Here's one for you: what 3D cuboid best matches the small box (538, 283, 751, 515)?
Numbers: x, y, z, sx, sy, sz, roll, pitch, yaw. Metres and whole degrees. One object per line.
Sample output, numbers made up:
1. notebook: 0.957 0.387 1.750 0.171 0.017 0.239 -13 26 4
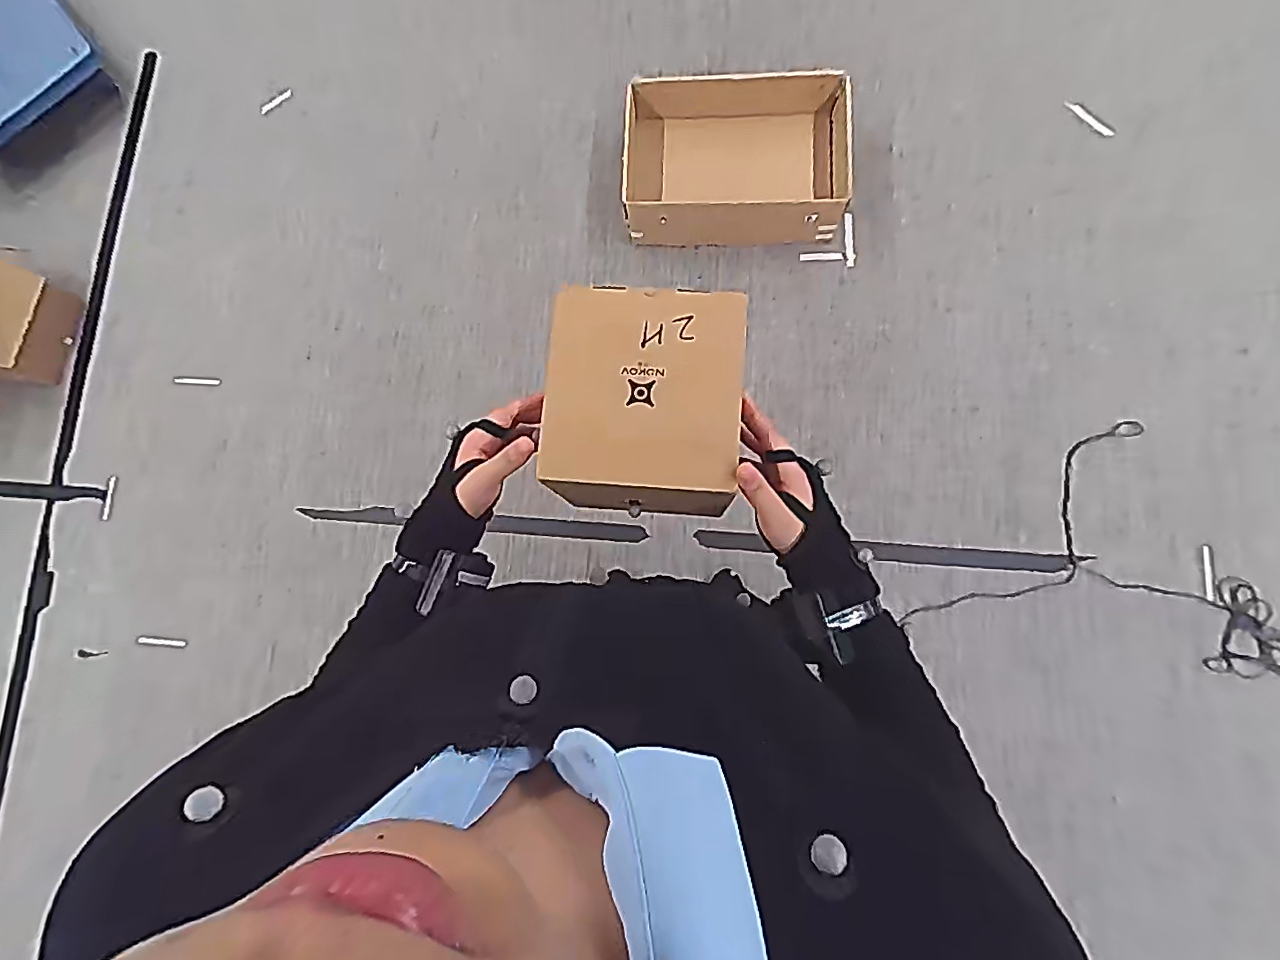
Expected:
1. small box: 0.010 -0.064 0.524 0.168 0.176 0.179 5 79 4
